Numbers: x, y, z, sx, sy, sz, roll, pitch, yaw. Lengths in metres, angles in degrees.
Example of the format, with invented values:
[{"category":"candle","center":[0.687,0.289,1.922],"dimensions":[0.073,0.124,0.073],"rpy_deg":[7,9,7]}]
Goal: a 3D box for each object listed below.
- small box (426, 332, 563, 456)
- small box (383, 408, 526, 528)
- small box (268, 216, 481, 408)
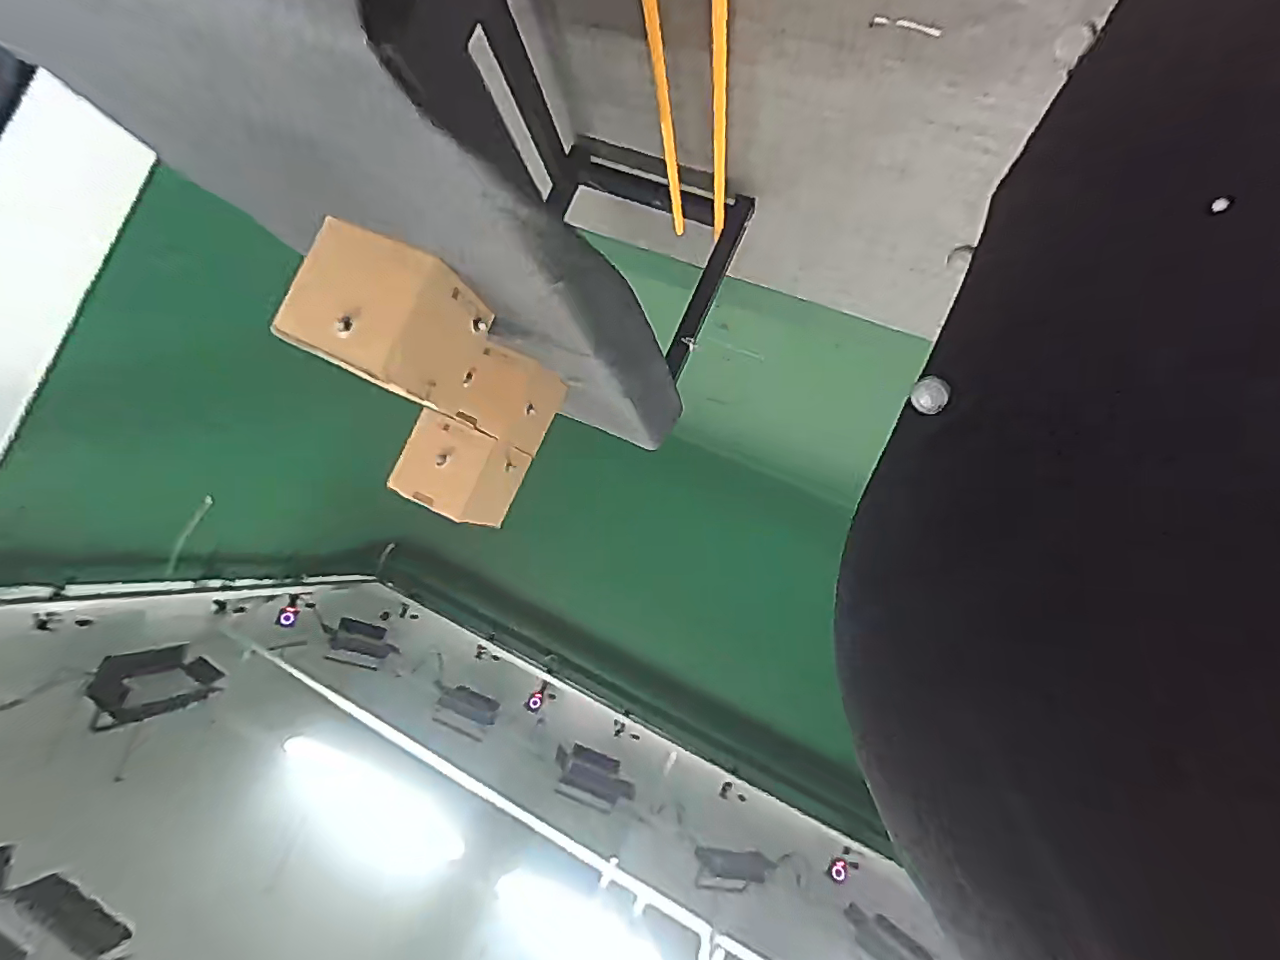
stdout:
[{"category":"small box","center":[-0.276,-0.168,1.062],"dimensions":[0.168,0.176,0.179],"rpy_deg":[25,177,11]},{"category":"small box","center":[-0.351,-0.022,1.053],"dimensions":[0.168,0.176,0.179],"rpy_deg":[24,175,12]},{"category":"small box","center":[-0.341,-0.223,0.735],"dimensions":[0.179,0.176,0.168],"rpy_deg":[24,176,12]}]
